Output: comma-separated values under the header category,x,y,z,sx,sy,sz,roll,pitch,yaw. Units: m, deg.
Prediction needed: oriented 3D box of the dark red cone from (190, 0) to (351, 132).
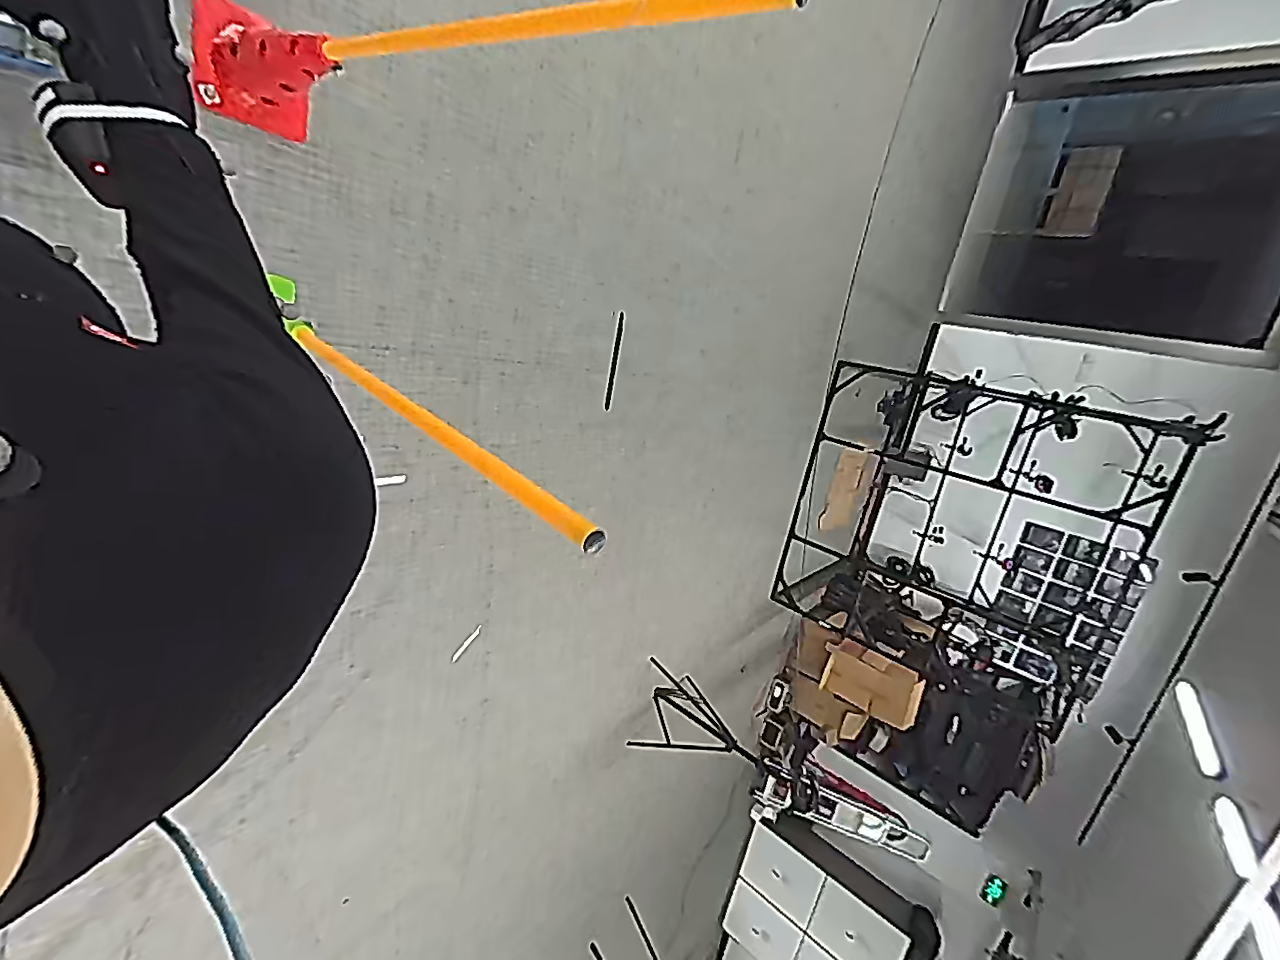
category,x,y,z,sx,sy,sz,roll,pitch,yaw
dark red cone,-0.638,-0.782,0.981,0.201,0.394,0.202,-9,116,-53
